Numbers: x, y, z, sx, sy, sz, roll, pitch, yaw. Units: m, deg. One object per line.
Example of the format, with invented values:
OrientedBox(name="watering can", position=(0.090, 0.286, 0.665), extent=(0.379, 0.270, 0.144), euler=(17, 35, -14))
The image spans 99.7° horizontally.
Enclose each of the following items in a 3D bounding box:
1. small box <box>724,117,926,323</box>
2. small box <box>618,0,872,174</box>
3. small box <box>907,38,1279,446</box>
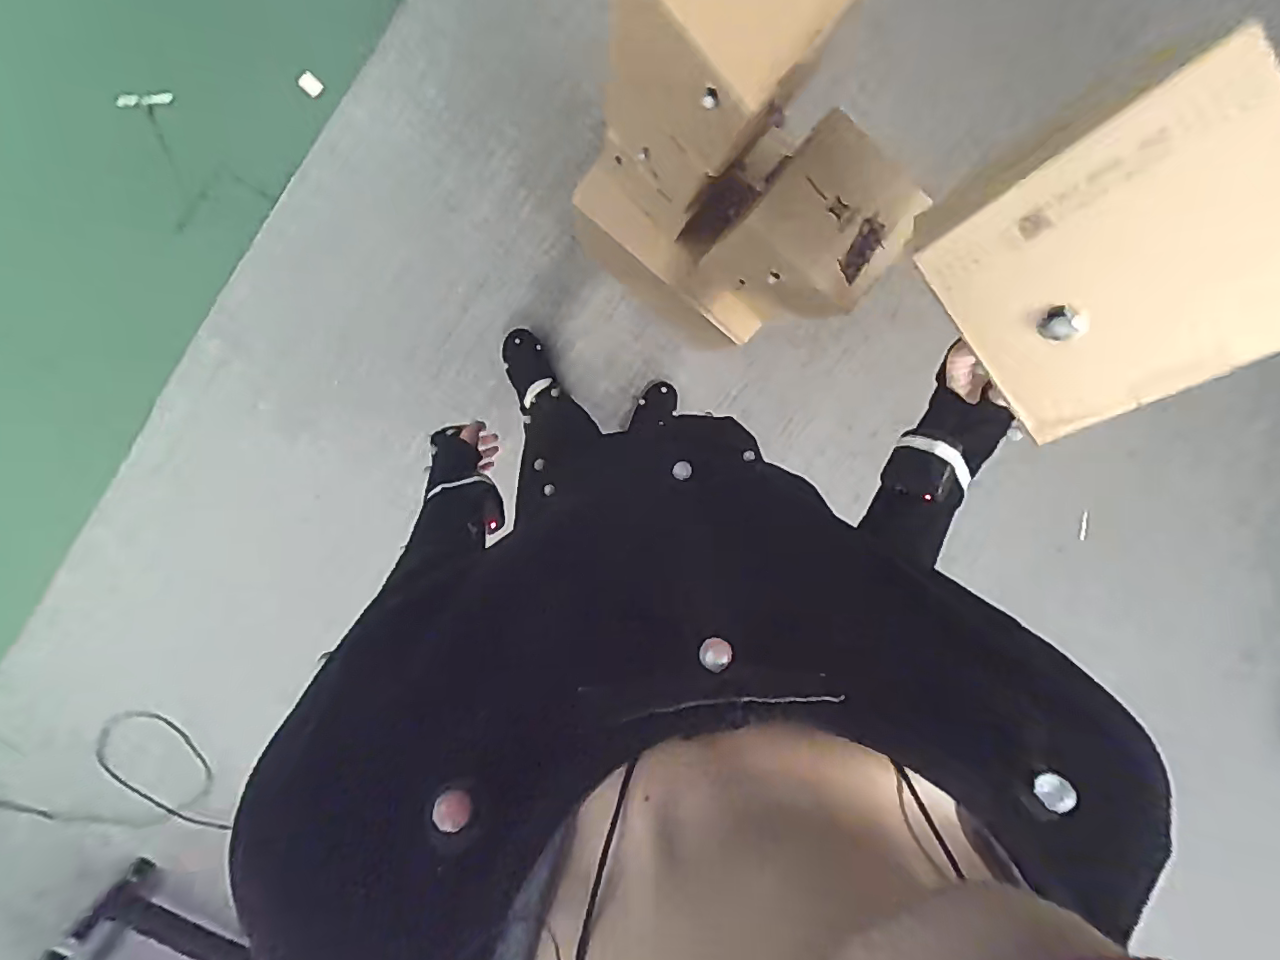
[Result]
OrientedBox(name="small box", position=(0.241, -0.332, 0.738), extent=(0.179, 0.176, 0.168), euler=(38, 97, -9))
OrientedBox(name="small box", position=(0.091, -0.452, 0.540), extent=(0.179, 0.176, 0.168), euler=(44, 96, -12))
OrientedBox(name="small box", position=(0.309, -0.161, 0.378), extent=(0.168, 0.179, 0.176), euler=(-32, 106, 38))
